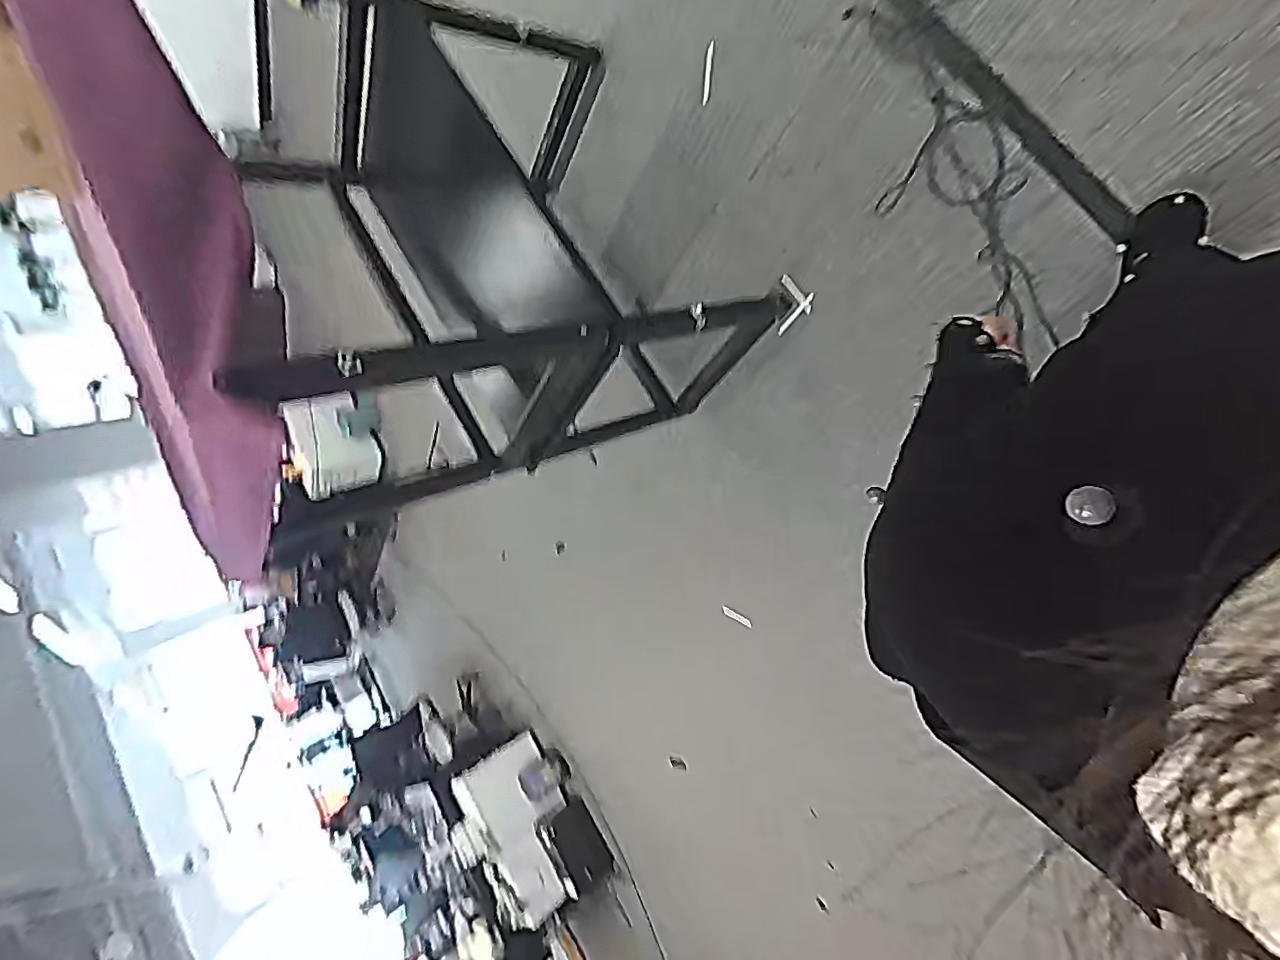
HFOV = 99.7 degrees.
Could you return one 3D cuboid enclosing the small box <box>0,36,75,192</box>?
[{"bbox_3d":[-1.057,-0.589,0.858,0.168,0.176,0.179,53,137,18],"label":"small box"}]
